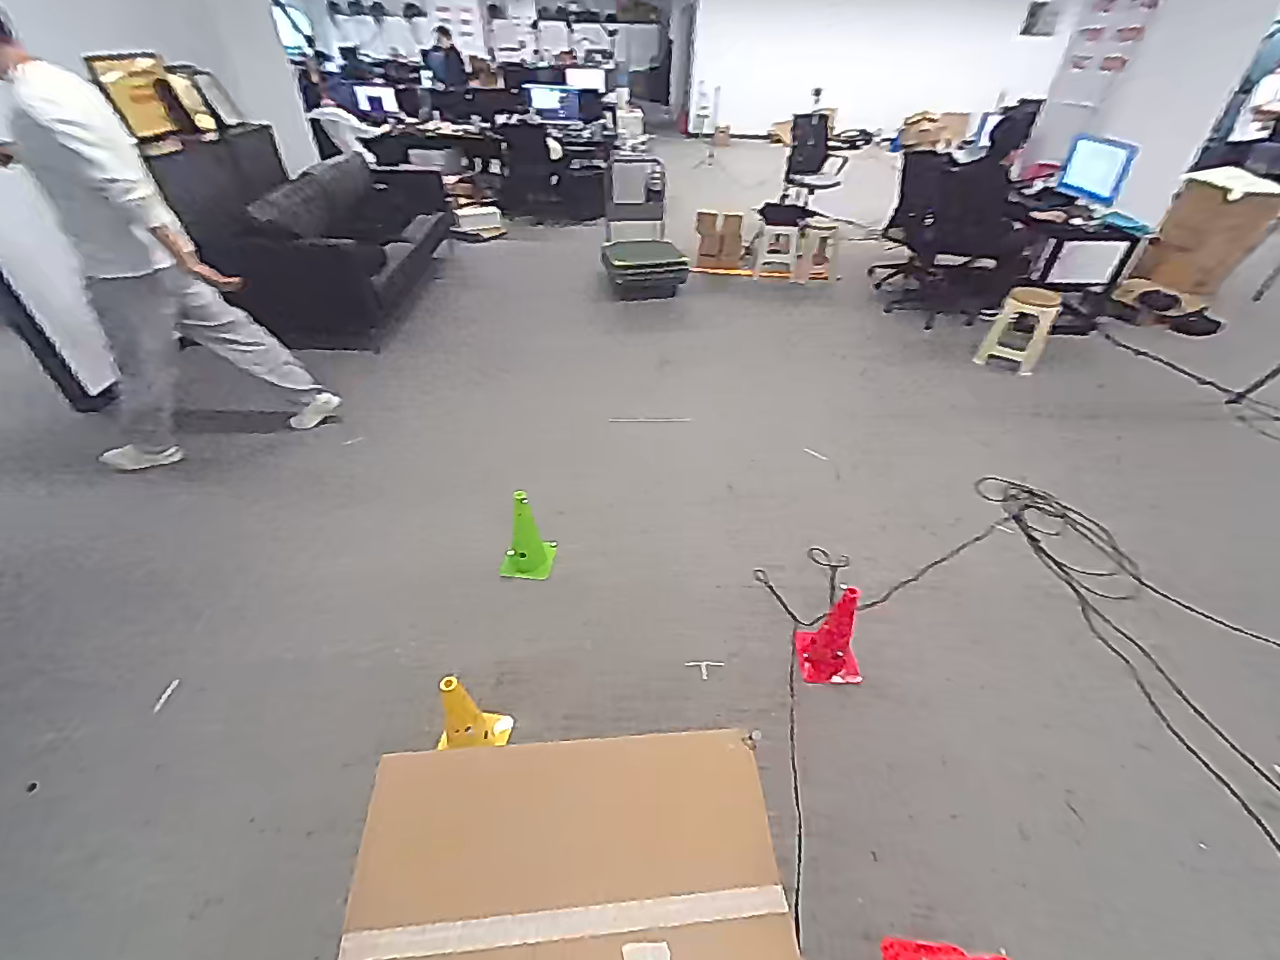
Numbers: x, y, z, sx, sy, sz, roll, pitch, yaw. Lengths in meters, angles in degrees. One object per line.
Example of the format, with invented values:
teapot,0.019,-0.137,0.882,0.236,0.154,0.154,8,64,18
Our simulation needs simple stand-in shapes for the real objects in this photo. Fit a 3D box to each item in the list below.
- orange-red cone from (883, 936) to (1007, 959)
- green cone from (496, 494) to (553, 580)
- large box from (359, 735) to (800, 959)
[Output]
orange-red cone,0.671,1.039,1.113,0.199,0.360,0.198,6,41,3
green cone,-0.466,0.194,2.093,0.200,0.368,0.202,4,41,3
large box,-0.064,0.514,0.610,0.408,0.320,0.320,-1,48,-6
